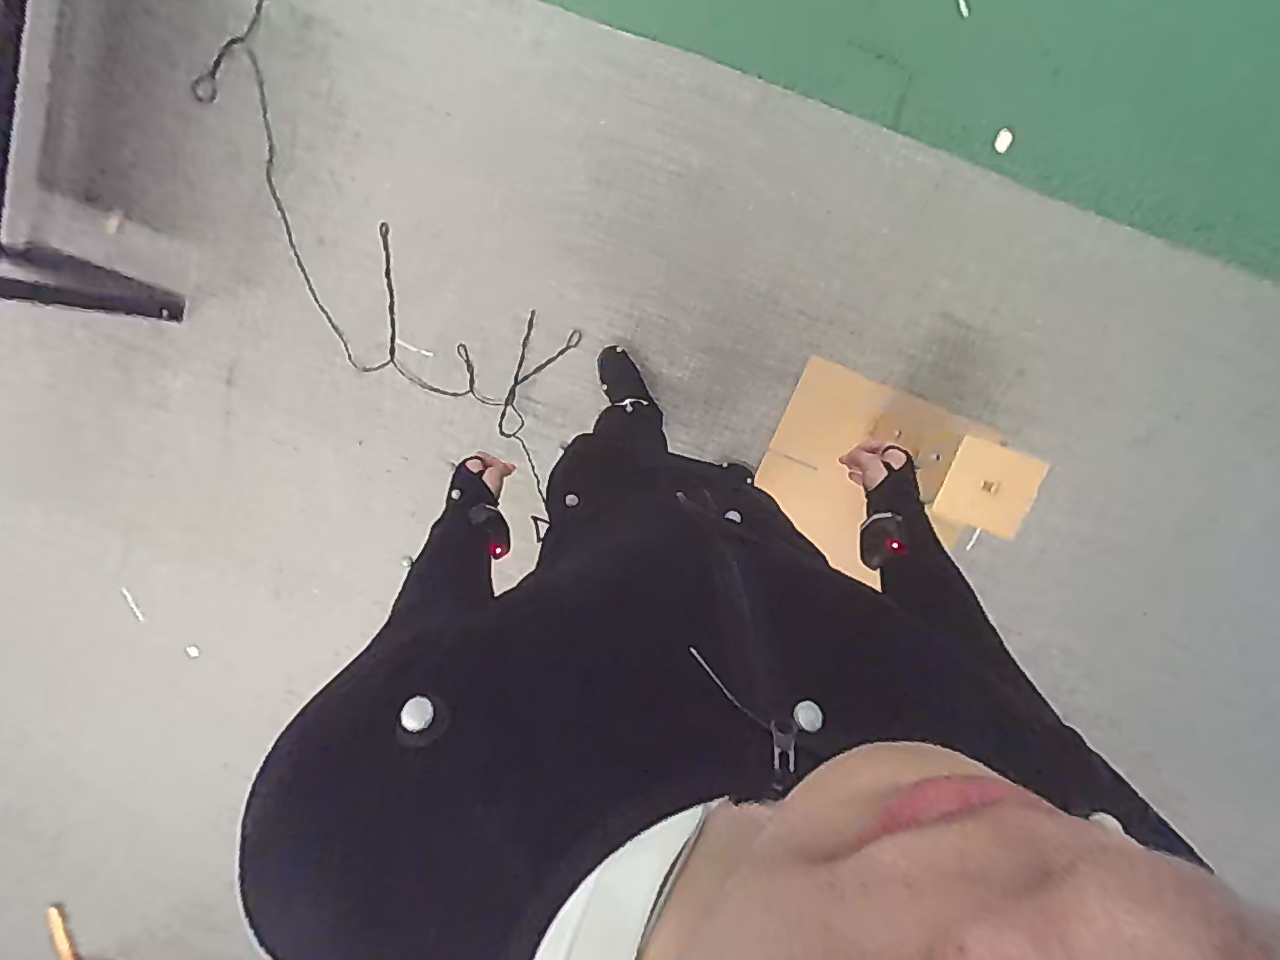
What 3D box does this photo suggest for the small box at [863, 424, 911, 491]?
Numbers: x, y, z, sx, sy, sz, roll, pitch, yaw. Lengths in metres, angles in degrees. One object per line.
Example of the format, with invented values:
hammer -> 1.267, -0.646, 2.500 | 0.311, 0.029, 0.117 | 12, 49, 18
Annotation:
small box -> 0.728, -0.048, 1.446 | 0.179, 0.176, 0.168 | 16, 101, 4

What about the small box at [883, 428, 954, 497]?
small box -> 0.711, -0.021, 1.285 | 0.179, 0.176, 0.168 | 19, 101, 2

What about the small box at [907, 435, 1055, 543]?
small box -> 0.694, 0.010, 1.127 | 0.179, 0.176, 0.168 | 20, 101, 2
